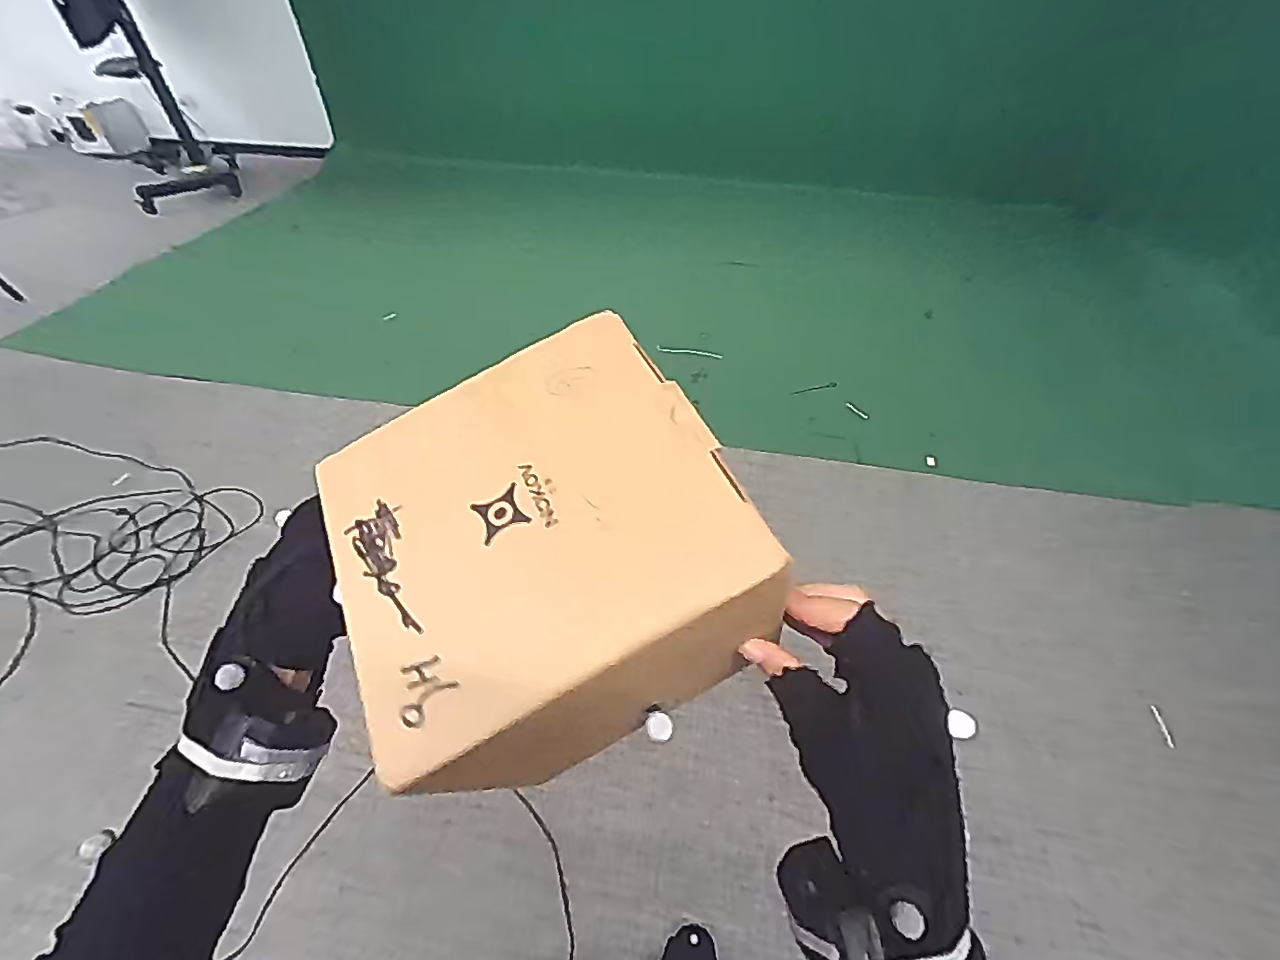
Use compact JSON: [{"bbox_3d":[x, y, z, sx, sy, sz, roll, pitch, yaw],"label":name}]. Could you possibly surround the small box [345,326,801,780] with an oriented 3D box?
[{"bbox_3d":[-0.031,0.051,0.324,0.179,0.176,0.168,-29,62,-4],"label":"small box"}]
